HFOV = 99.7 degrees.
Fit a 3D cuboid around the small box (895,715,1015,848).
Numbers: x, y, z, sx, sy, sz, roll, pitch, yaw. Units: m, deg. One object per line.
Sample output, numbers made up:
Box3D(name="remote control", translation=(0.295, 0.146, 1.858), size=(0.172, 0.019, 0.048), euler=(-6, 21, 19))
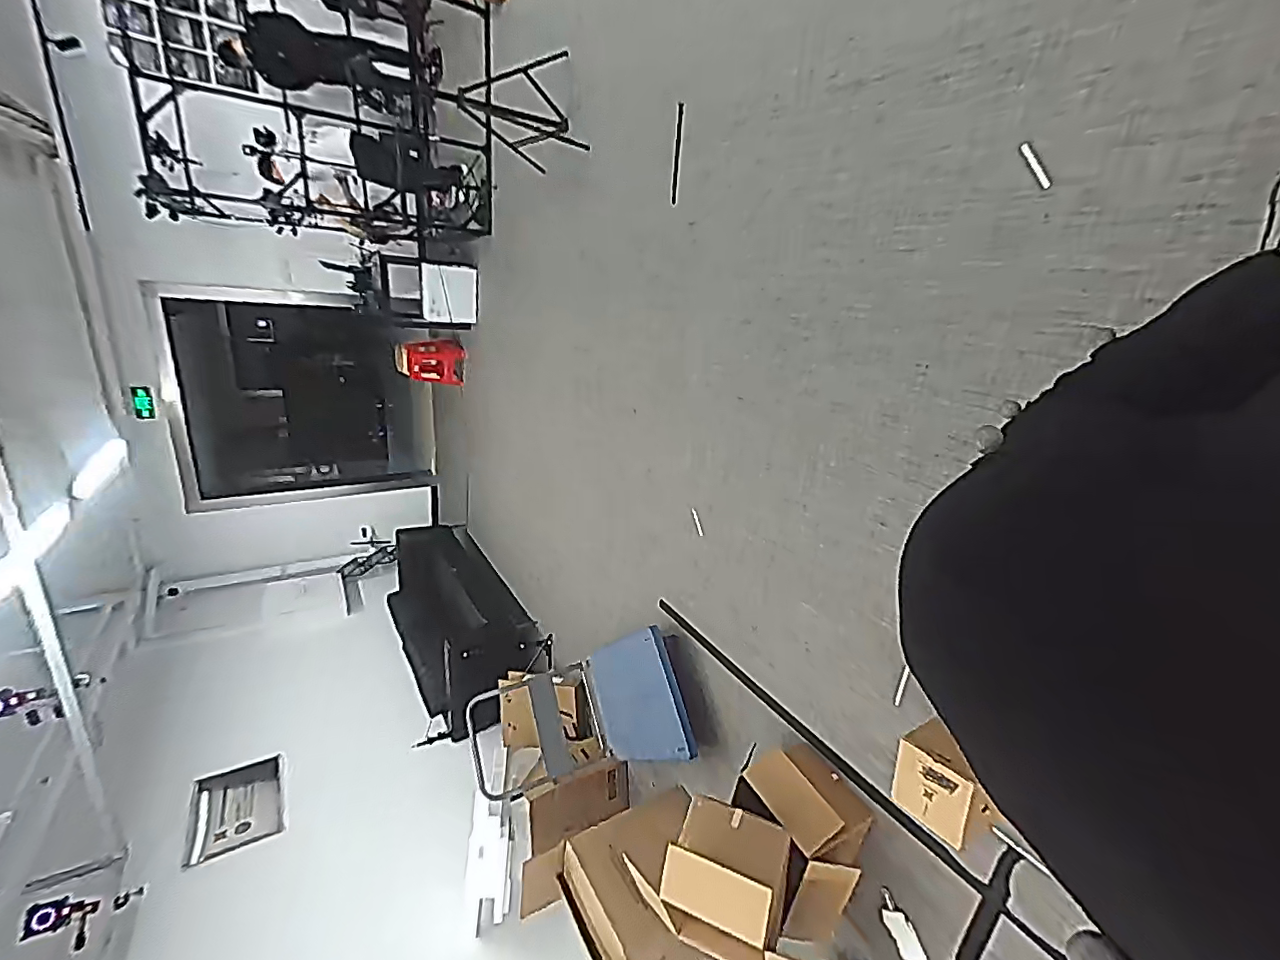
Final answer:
Box3D(name="small box", translation=(0.717, 0.673, 1.231), size=(0.168, 0.176, 0.179), euler=(24, 117, 55))
